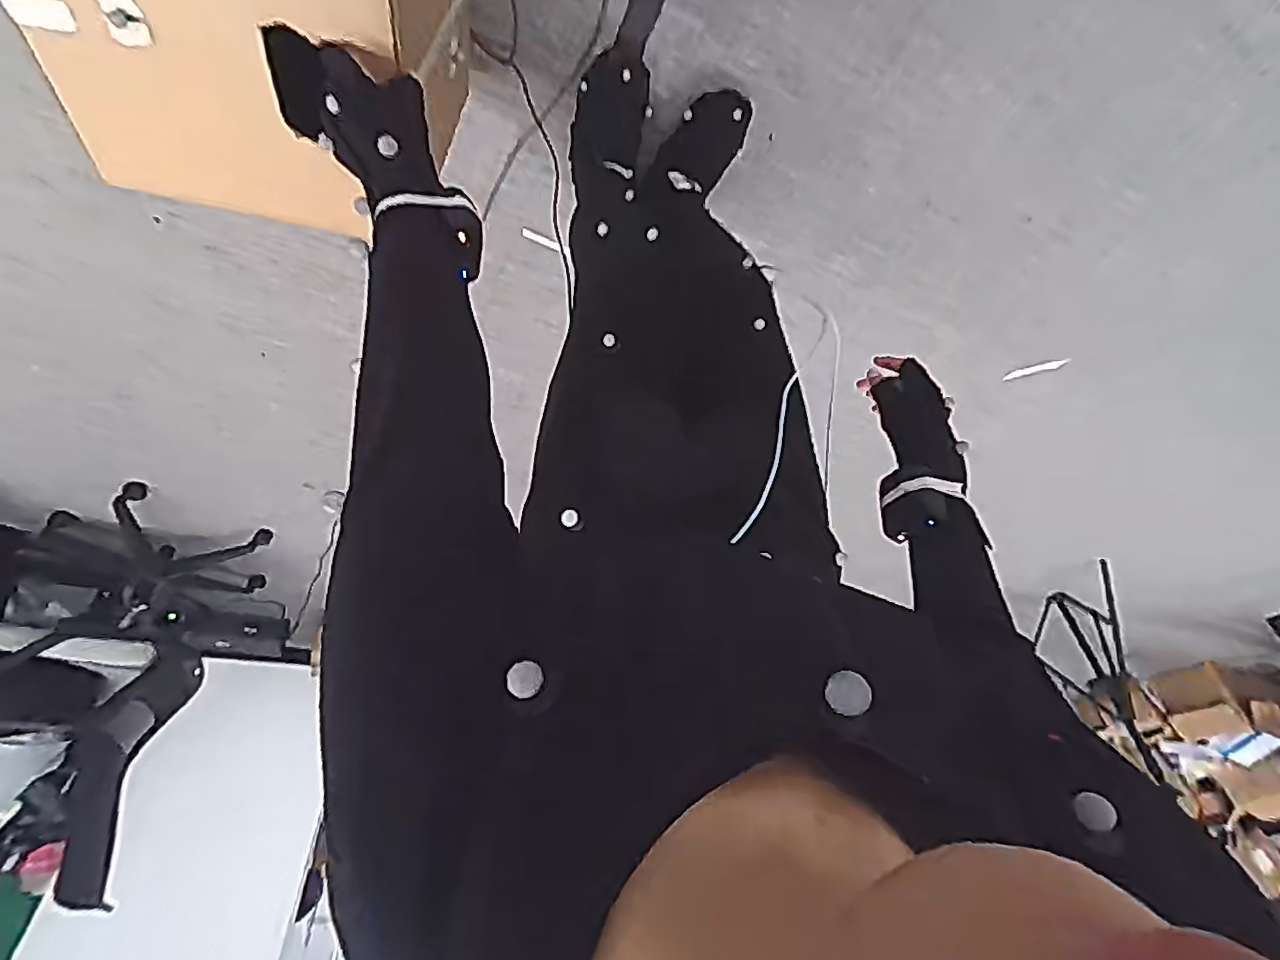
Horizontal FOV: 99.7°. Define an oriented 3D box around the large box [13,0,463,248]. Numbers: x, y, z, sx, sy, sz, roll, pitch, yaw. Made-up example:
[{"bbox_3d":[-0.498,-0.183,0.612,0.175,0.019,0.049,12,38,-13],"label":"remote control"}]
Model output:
[{"bbox_3d":[-0.396,-0.543,0.611,0.320,0.408,0.320,7,147,-14],"label":"large box"}]
